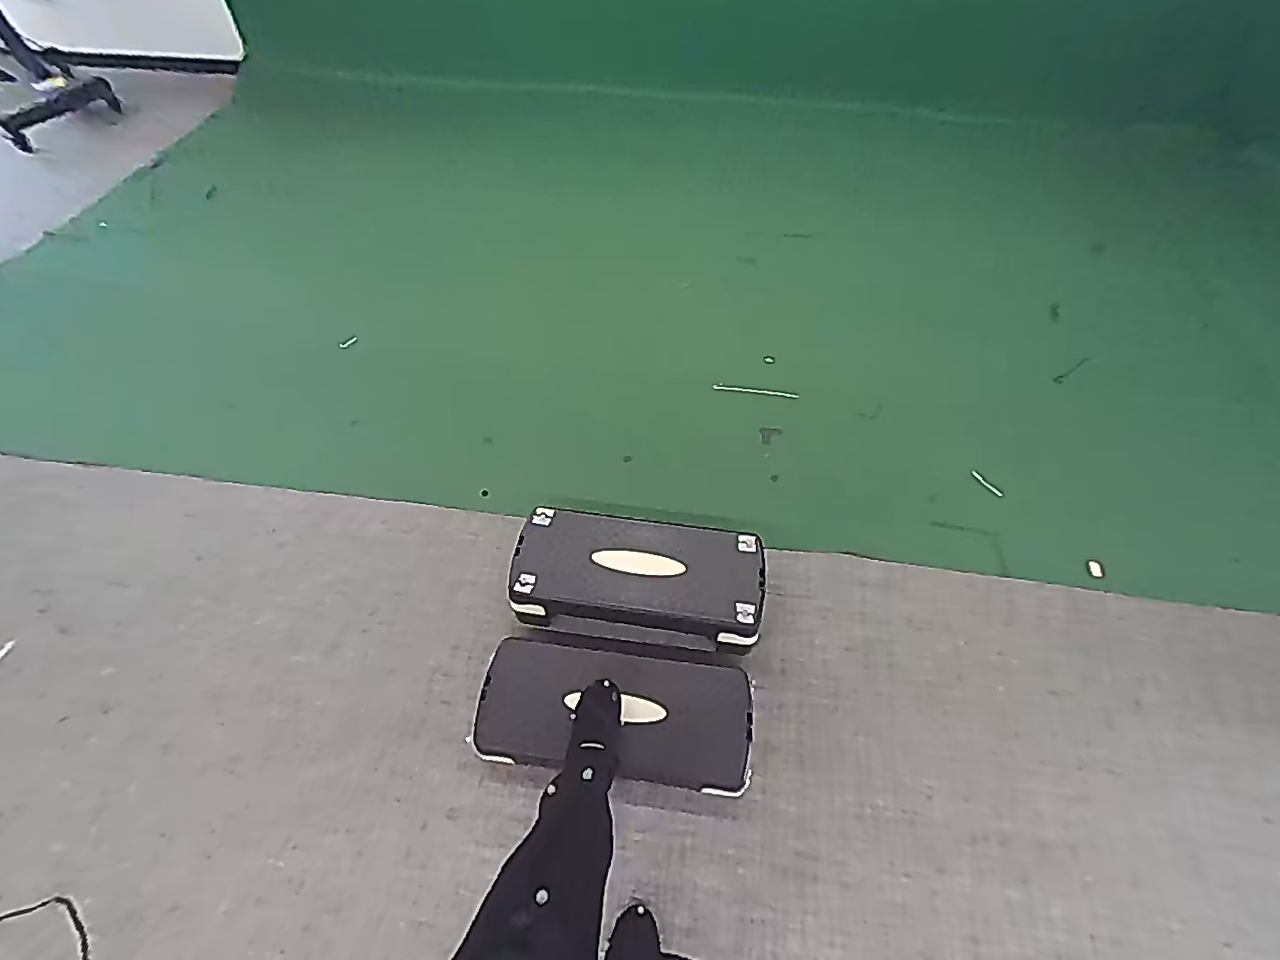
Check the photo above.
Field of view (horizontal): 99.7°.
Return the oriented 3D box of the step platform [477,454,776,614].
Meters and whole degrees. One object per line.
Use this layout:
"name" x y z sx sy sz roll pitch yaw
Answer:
"step platform" -0.028 0.134 1.327 0.684 0.204 0.286 6 56 5
